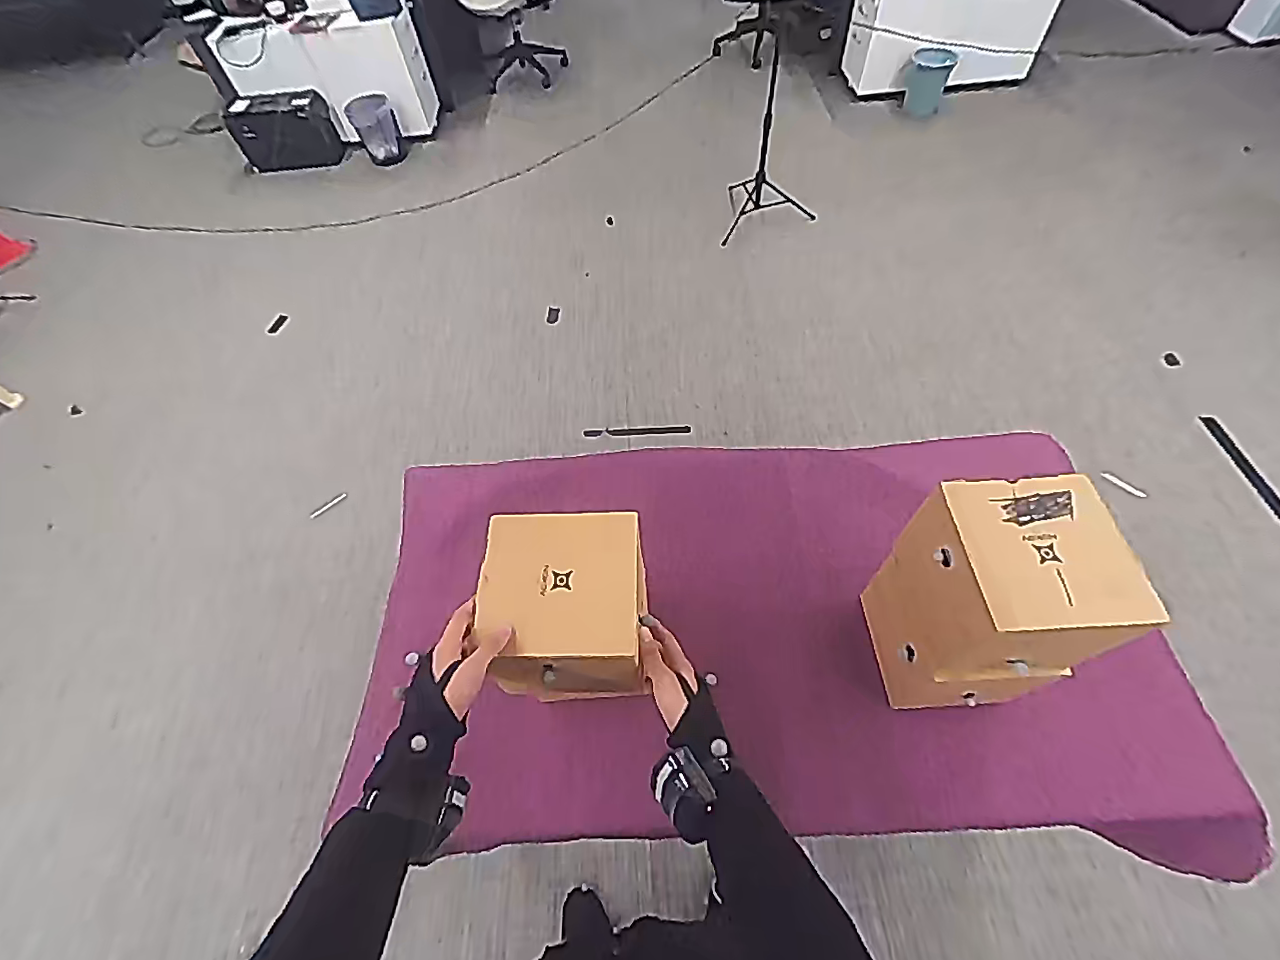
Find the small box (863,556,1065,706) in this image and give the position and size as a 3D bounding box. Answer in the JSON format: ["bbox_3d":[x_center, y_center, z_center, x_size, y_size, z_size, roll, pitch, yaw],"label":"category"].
[{"bbox_3d":[0.439,0.218,0.769,0.168,0.176,0.179,-3,57,2],"label":"small box"}]

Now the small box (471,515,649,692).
[{"bbox_3d":[-0.080,0.154,0.655,0.179,0.176,0.168,-2,57,4],"label":"small box"}]

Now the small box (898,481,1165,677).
[{"bbox_3d":[0.429,0.120,0.637,0.168,0.176,0.179,-3,57,3],"label":"small box"}]
